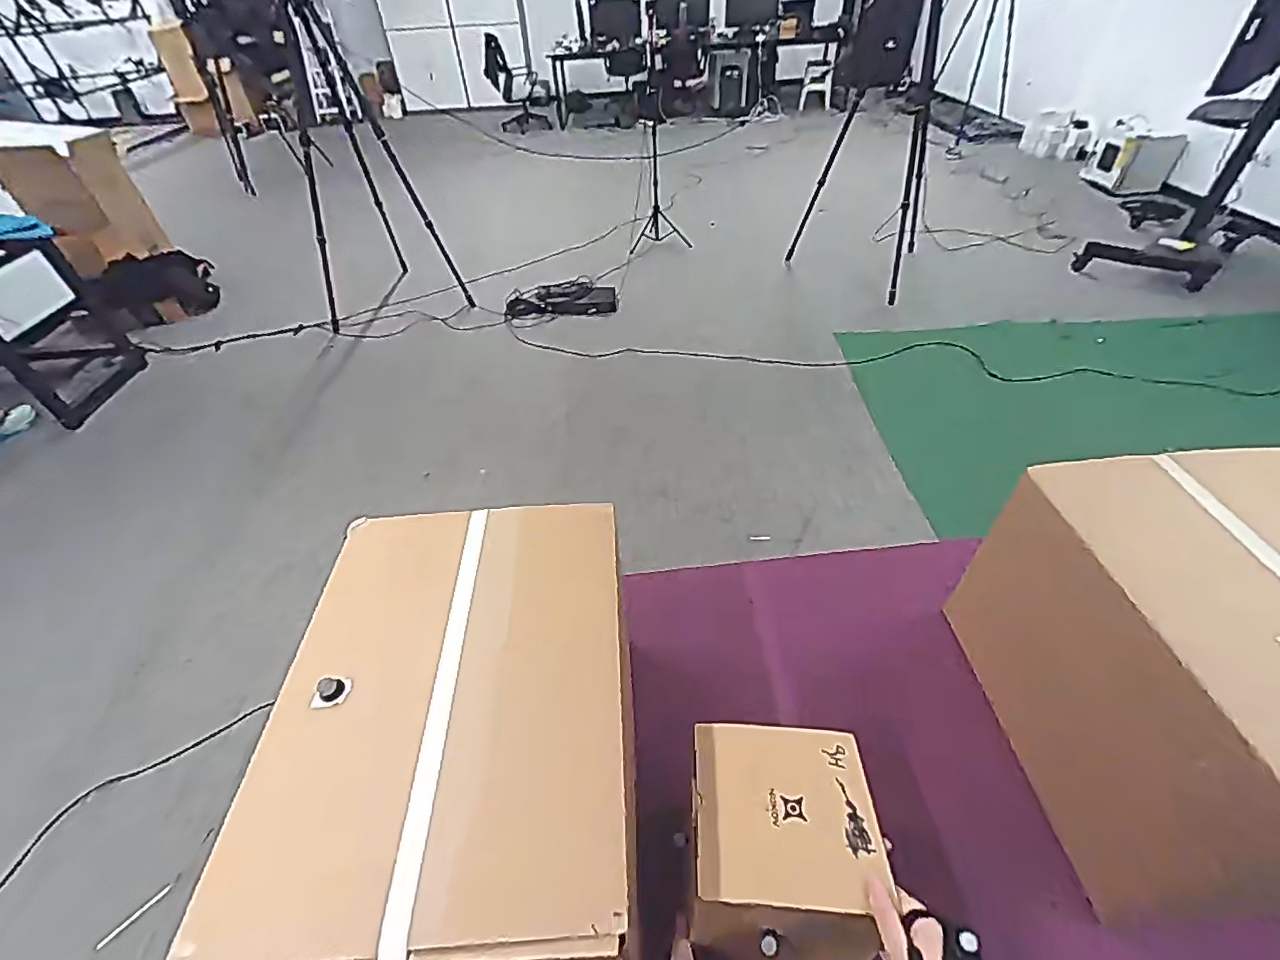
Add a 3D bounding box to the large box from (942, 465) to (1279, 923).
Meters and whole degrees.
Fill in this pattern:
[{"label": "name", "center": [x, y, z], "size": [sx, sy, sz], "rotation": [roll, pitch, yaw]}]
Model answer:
[{"label": "large box", "center": [0.635, 0.231, 0.626], "size": [0.320, 0.320, 0.408], "rotation": [-3, 44, 0]}]
